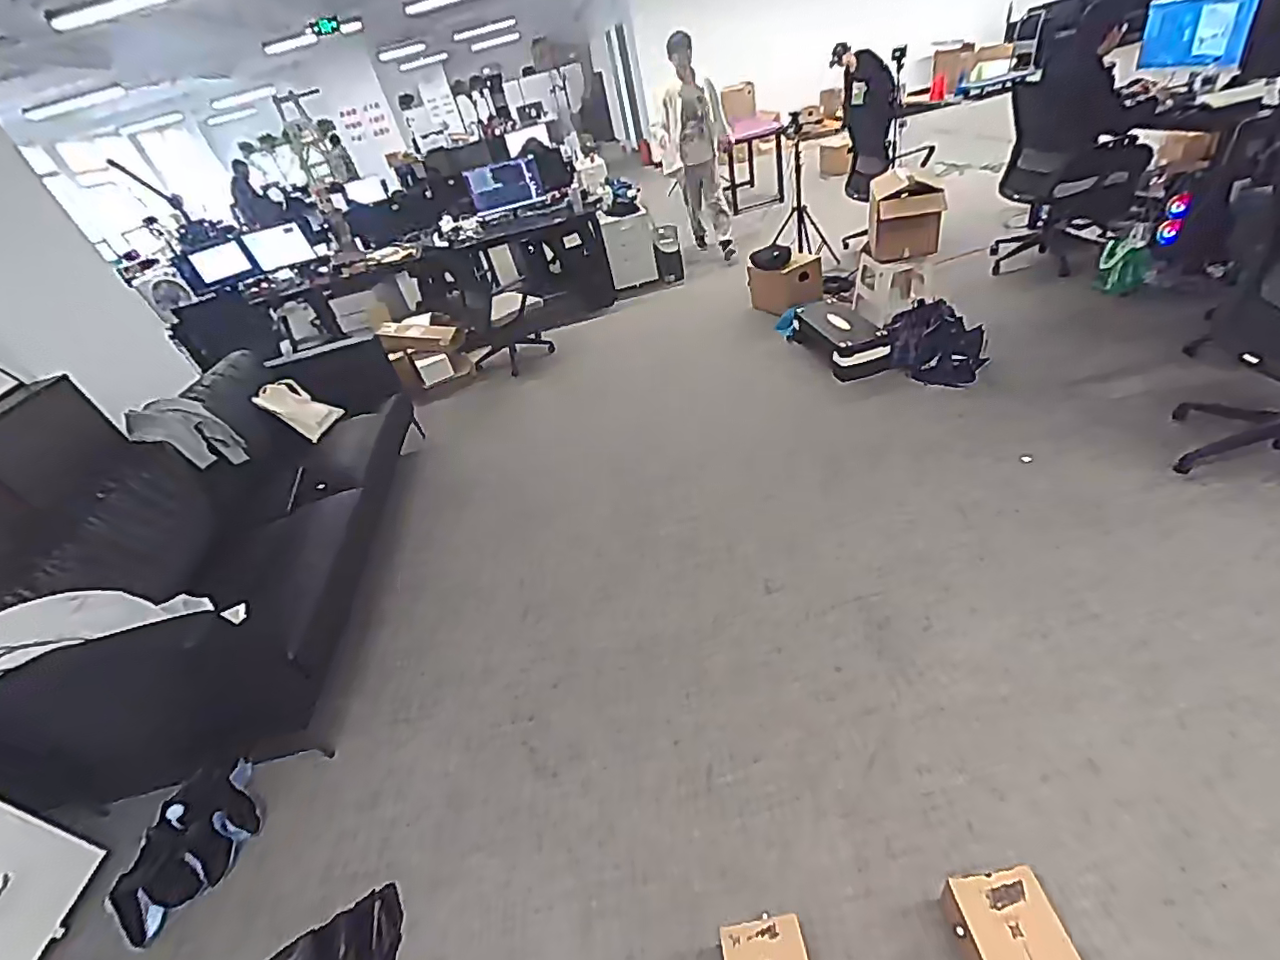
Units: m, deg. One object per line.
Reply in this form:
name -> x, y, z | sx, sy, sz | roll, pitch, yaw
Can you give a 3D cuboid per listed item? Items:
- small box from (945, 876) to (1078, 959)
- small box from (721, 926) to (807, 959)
small box -> 0.732, 0.927, 1.071 | 0.168, 0.176, 0.179 | -14, 37, 4
small box -> 0.270, 1.044, 1.090 | 0.168, 0.176, 0.179 | -14, 36, 3
